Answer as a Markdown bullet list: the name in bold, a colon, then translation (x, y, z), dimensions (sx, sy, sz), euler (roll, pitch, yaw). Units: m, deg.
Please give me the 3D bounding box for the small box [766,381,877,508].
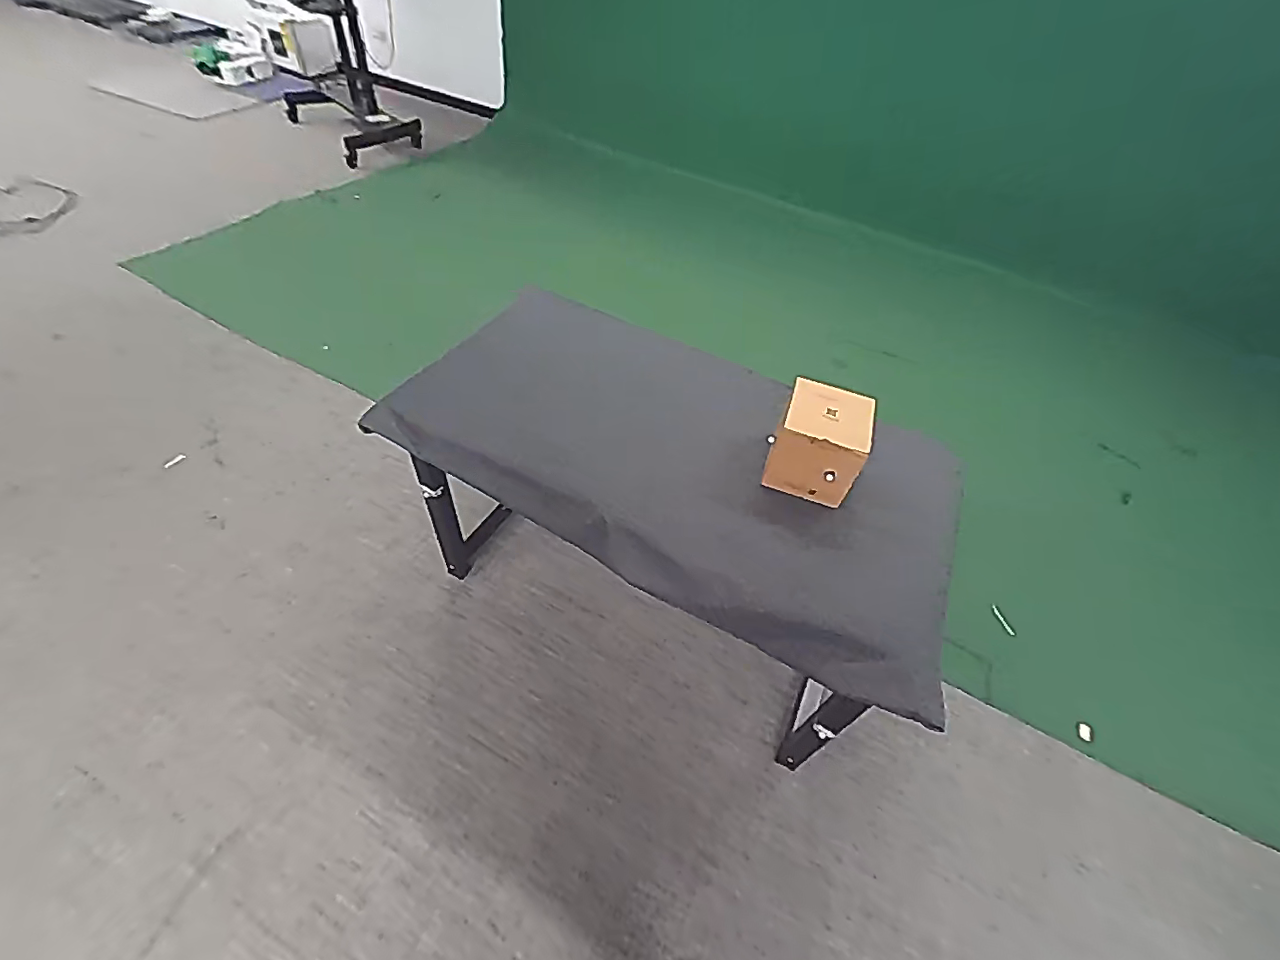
- **small box**: translation (0.374, -0.071, 1.129), dimensions (0.168, 0.176, 0.179), euler (20, 48, 7)
